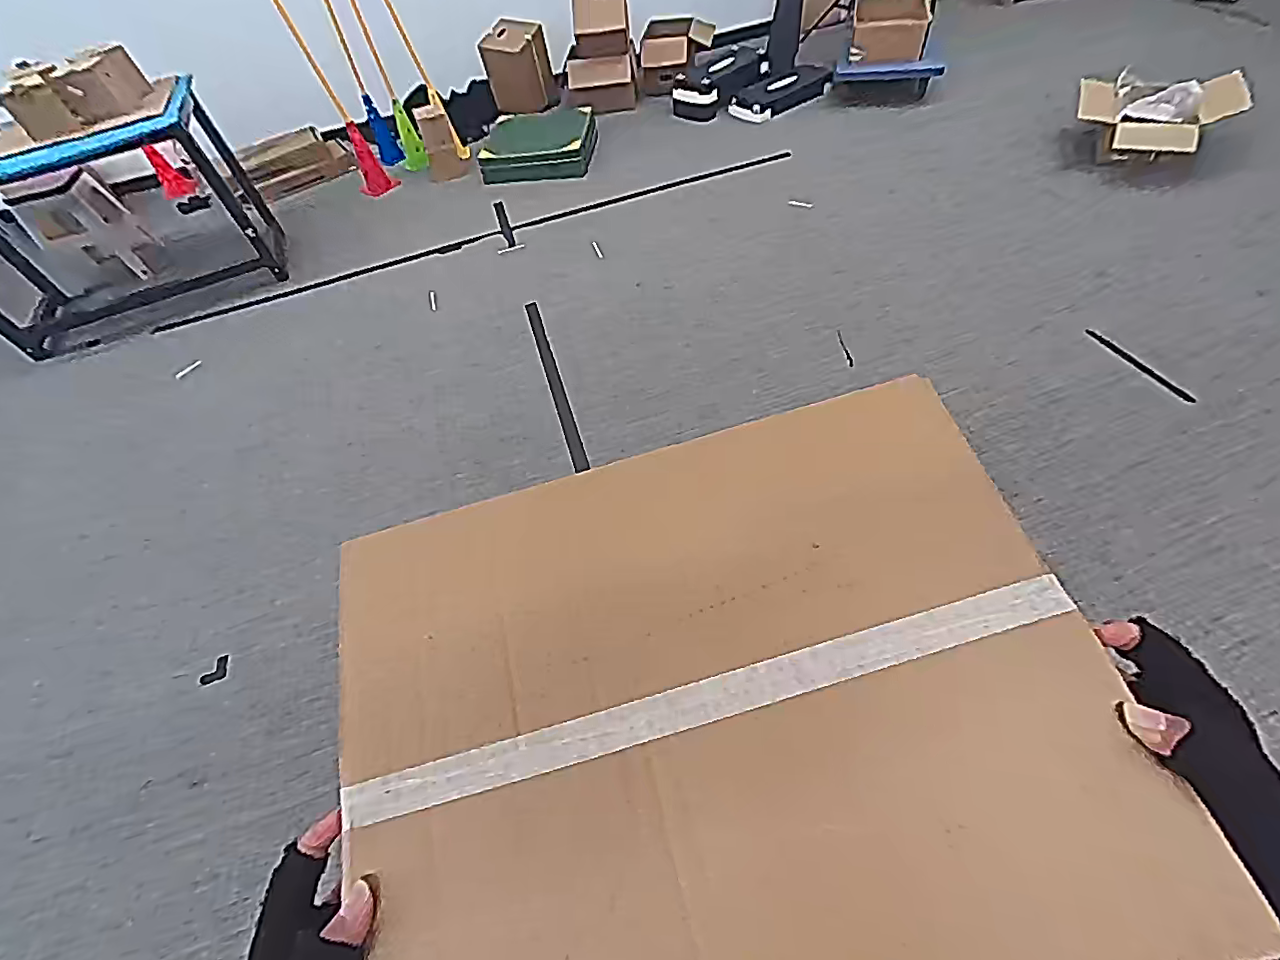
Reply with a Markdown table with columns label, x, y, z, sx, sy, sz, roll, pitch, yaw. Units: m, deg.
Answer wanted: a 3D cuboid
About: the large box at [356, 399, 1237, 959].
| label | x | y | z | sx | sy | sz | roll | pitch | yaw |
| --- | --- | --- | --- | --- | --- | --- | --- | --- | --- |
| large box | 0.057 | 0.194 | 0.433 | 0.408 | 0.320 | 0.320 | -17 | 62 | 0 |
